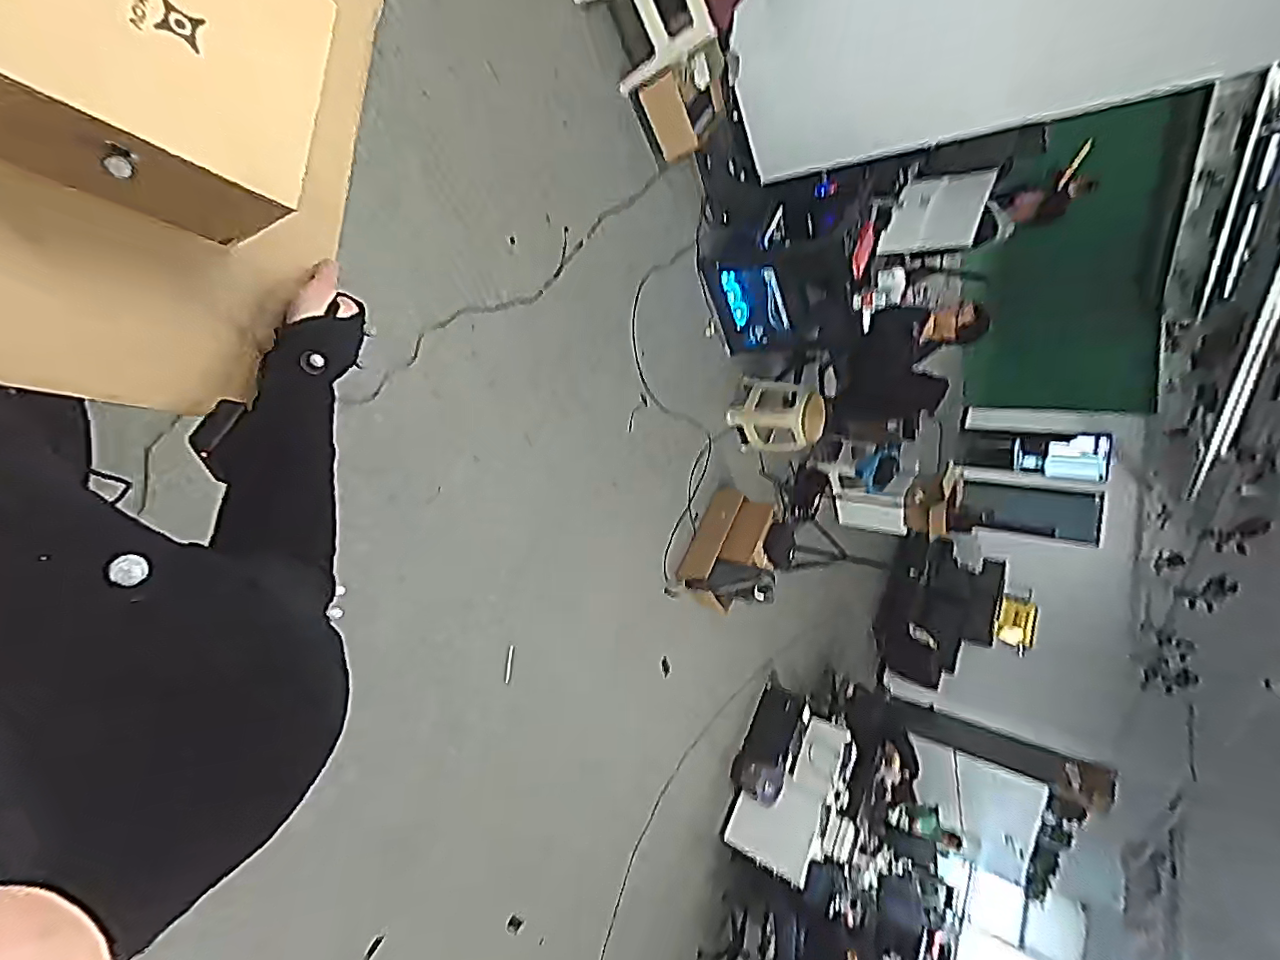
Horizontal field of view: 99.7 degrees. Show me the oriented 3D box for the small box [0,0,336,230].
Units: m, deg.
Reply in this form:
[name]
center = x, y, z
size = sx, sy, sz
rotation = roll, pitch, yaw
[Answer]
[small box]
center = -0.367, -0.310, 0.408
size = 0.179, 0.176, 0.168
rotation = 10, 89, -50
